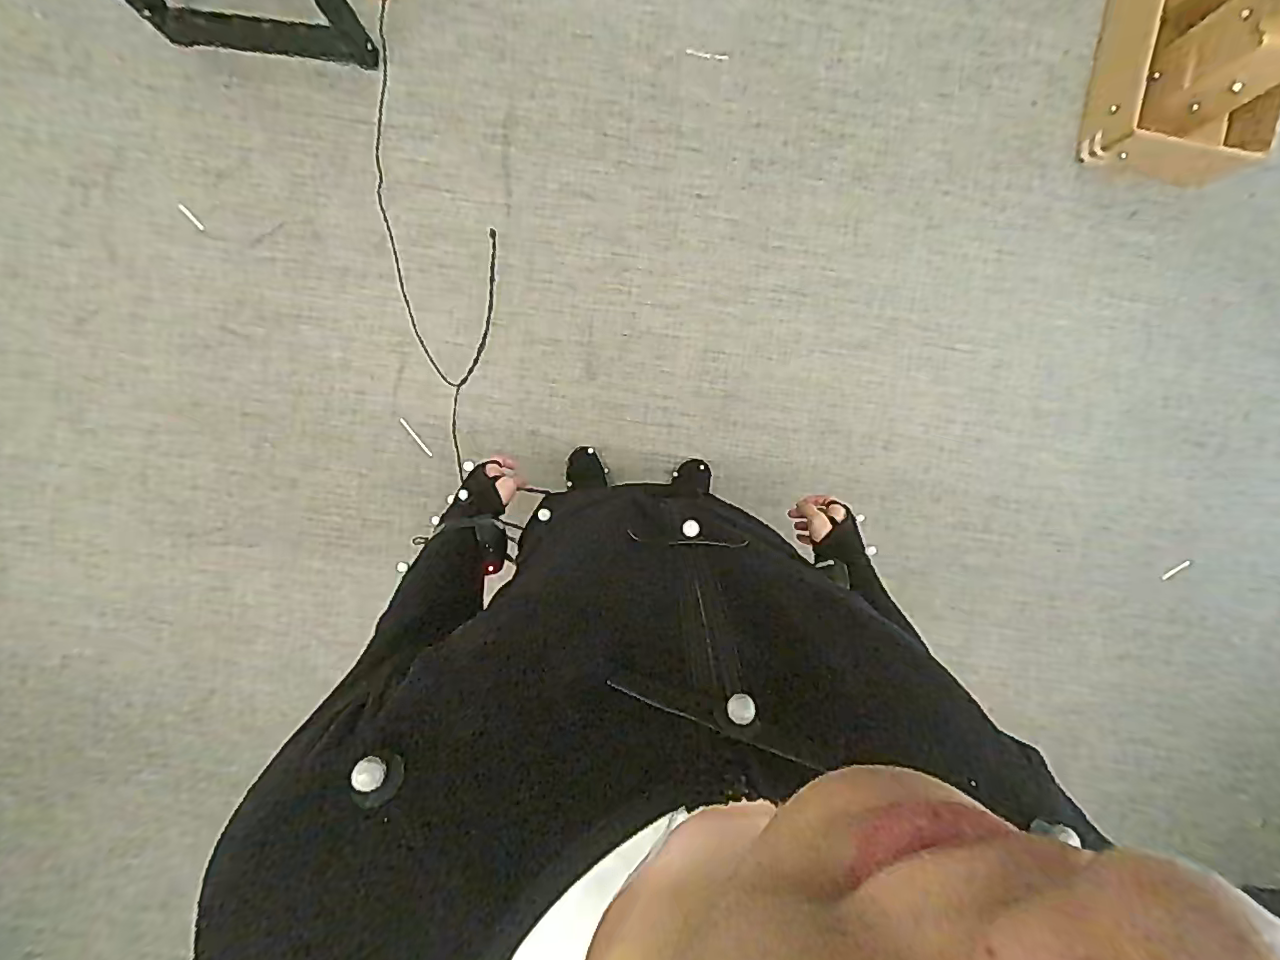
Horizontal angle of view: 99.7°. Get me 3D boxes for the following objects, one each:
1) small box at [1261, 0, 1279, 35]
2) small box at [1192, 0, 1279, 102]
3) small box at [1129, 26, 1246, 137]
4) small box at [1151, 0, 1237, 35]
[{"bbox_3d":[1.505,-1.078,1.147,0.179,0.176,0.168,12,93,-2],"label":"small box"},{"bbox_3d":[1.506,-1.068,1.310,0.168,0.176,0.179,7,93,-1],"label":"small box"},{"bbox_3d":[1.502,-1.076,1.476,0.179,0.176,0.168,11,93,-3],"label":"small box"},{"bbox_3d":[1.551,-1.350,1.462,0.179,0.176,0.168,9,94,-1],"label":"small box"}]
